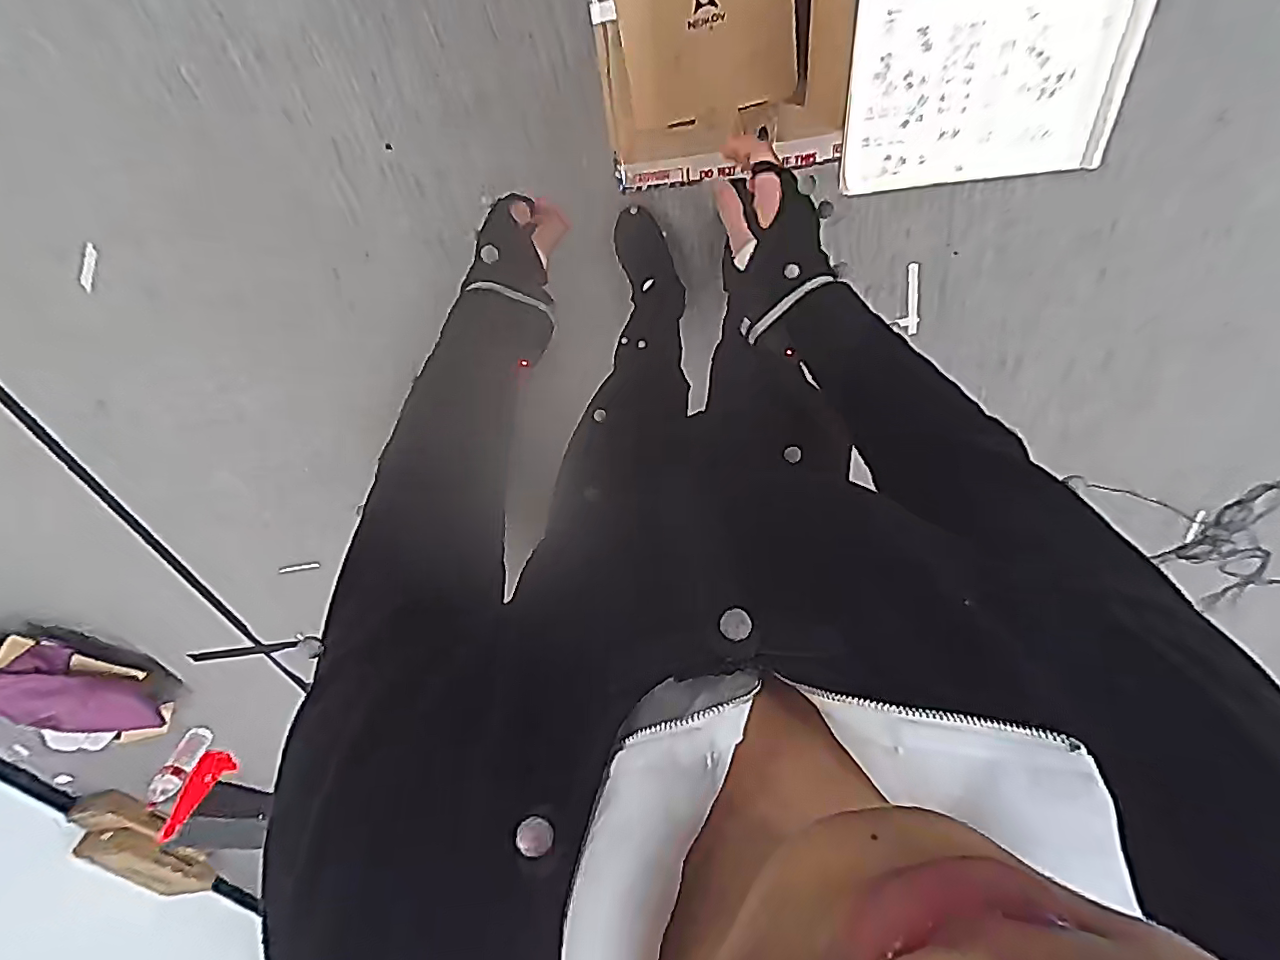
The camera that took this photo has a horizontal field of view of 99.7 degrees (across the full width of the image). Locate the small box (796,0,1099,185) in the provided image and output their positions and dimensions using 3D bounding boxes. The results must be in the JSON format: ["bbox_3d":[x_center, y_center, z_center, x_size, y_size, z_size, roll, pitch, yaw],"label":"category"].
[{"bbox_3d":[0.237,-0.365,0.451,0.168,0.176,0.179,-5,128,2],"label":"small box"}]
